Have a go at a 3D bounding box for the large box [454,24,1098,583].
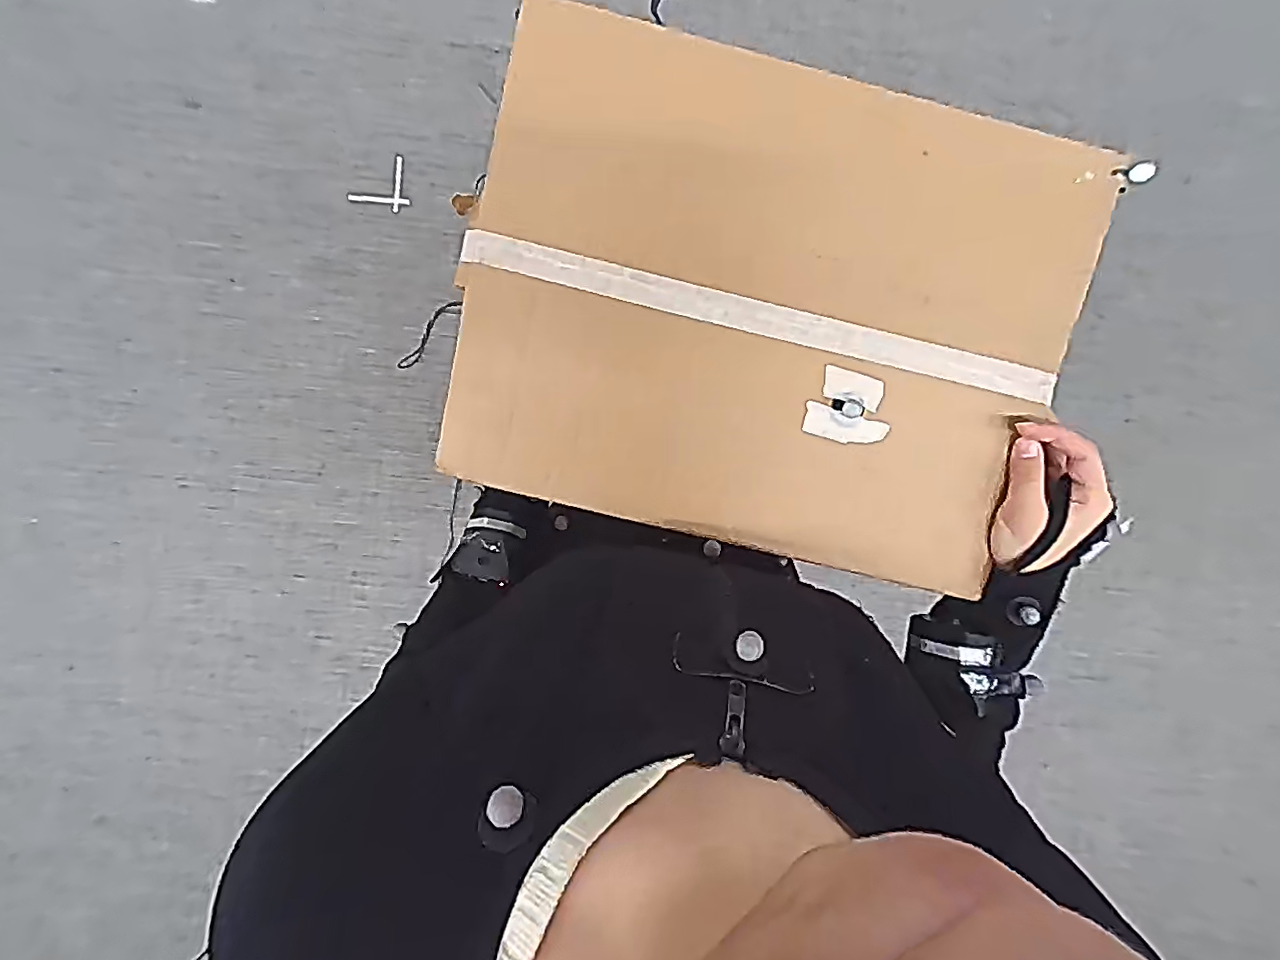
[{"bbox_3d":[0.084,-0.128,0.524,0.408,0.320,0.320,13,98,-4],"label":"large box"}]
